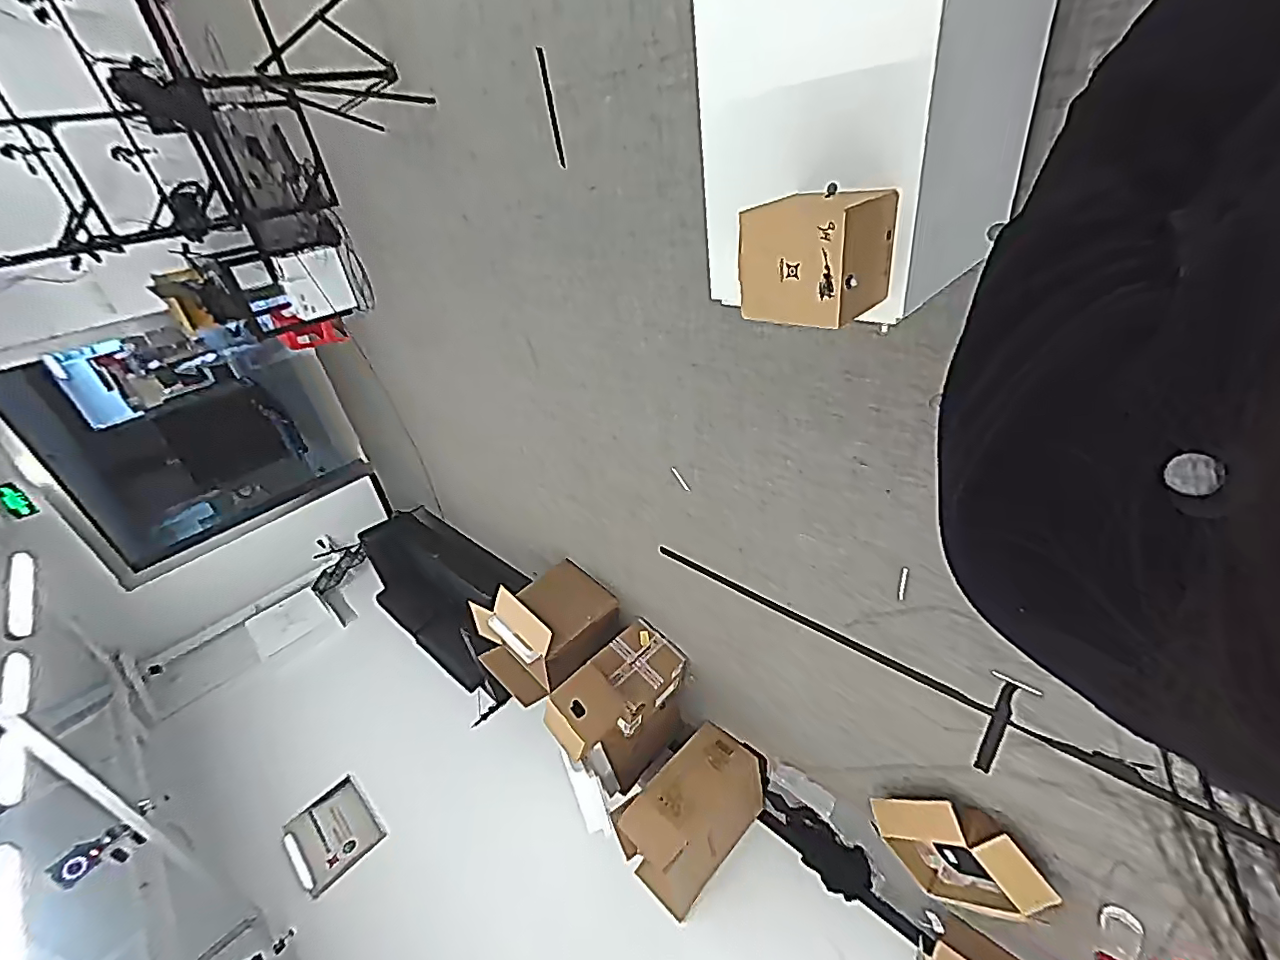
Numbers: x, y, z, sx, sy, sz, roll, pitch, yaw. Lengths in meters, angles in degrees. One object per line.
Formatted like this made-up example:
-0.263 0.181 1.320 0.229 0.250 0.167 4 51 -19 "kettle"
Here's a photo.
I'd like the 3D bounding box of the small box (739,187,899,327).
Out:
0.275 -0.356 0.850 0.179 0.176 0.168 23 134 40 "small box"
